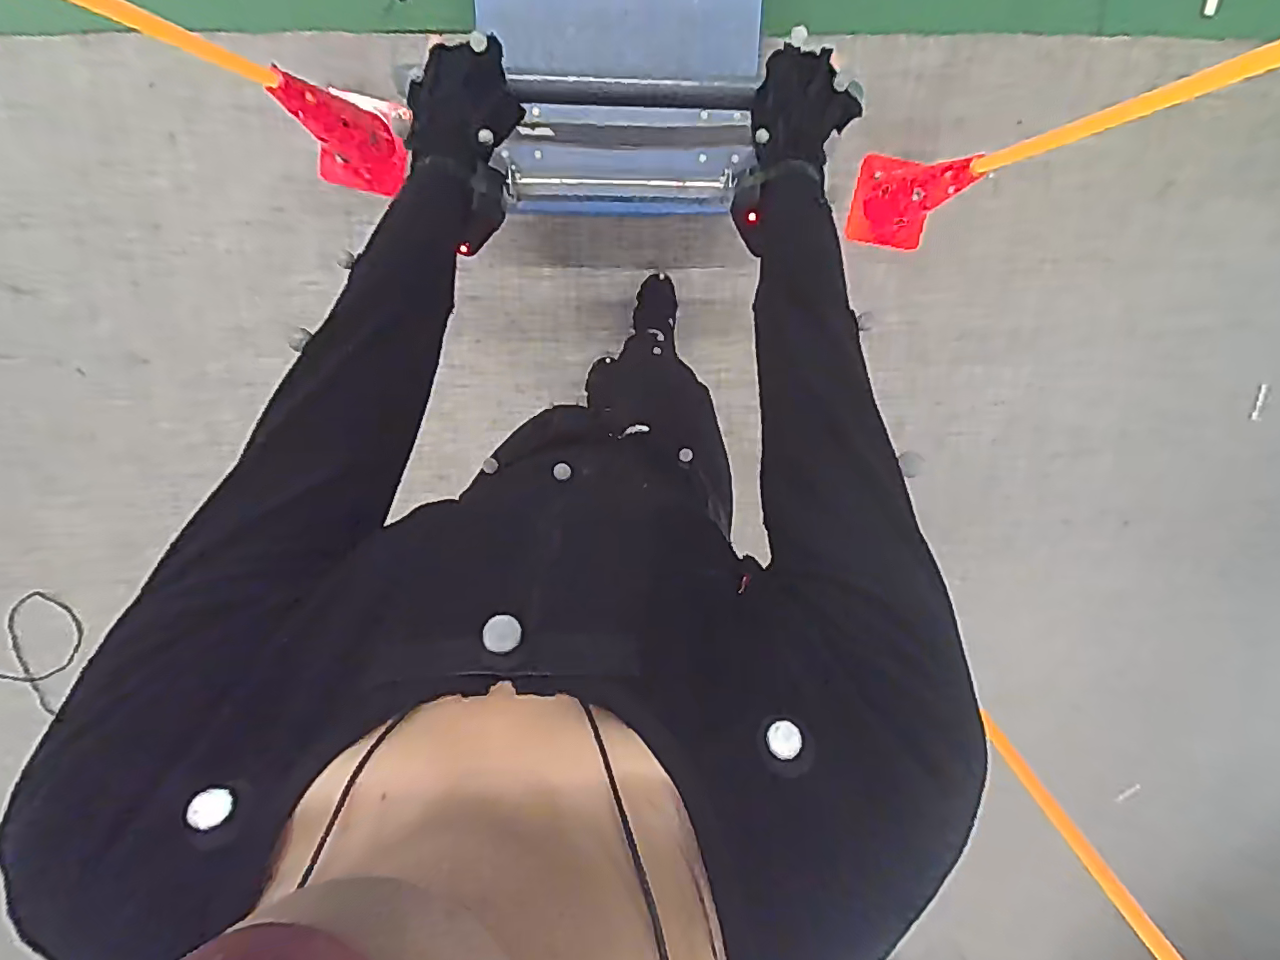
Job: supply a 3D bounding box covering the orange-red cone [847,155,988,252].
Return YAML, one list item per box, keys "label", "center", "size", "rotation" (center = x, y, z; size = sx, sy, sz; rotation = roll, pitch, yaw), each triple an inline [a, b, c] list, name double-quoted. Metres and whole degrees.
- label: "orange-red cone"
  center: [0.637, -0.641, 1.190]
  size: [0.198, 0.360, 0.199]
  rotation: [10, 106, -4]
